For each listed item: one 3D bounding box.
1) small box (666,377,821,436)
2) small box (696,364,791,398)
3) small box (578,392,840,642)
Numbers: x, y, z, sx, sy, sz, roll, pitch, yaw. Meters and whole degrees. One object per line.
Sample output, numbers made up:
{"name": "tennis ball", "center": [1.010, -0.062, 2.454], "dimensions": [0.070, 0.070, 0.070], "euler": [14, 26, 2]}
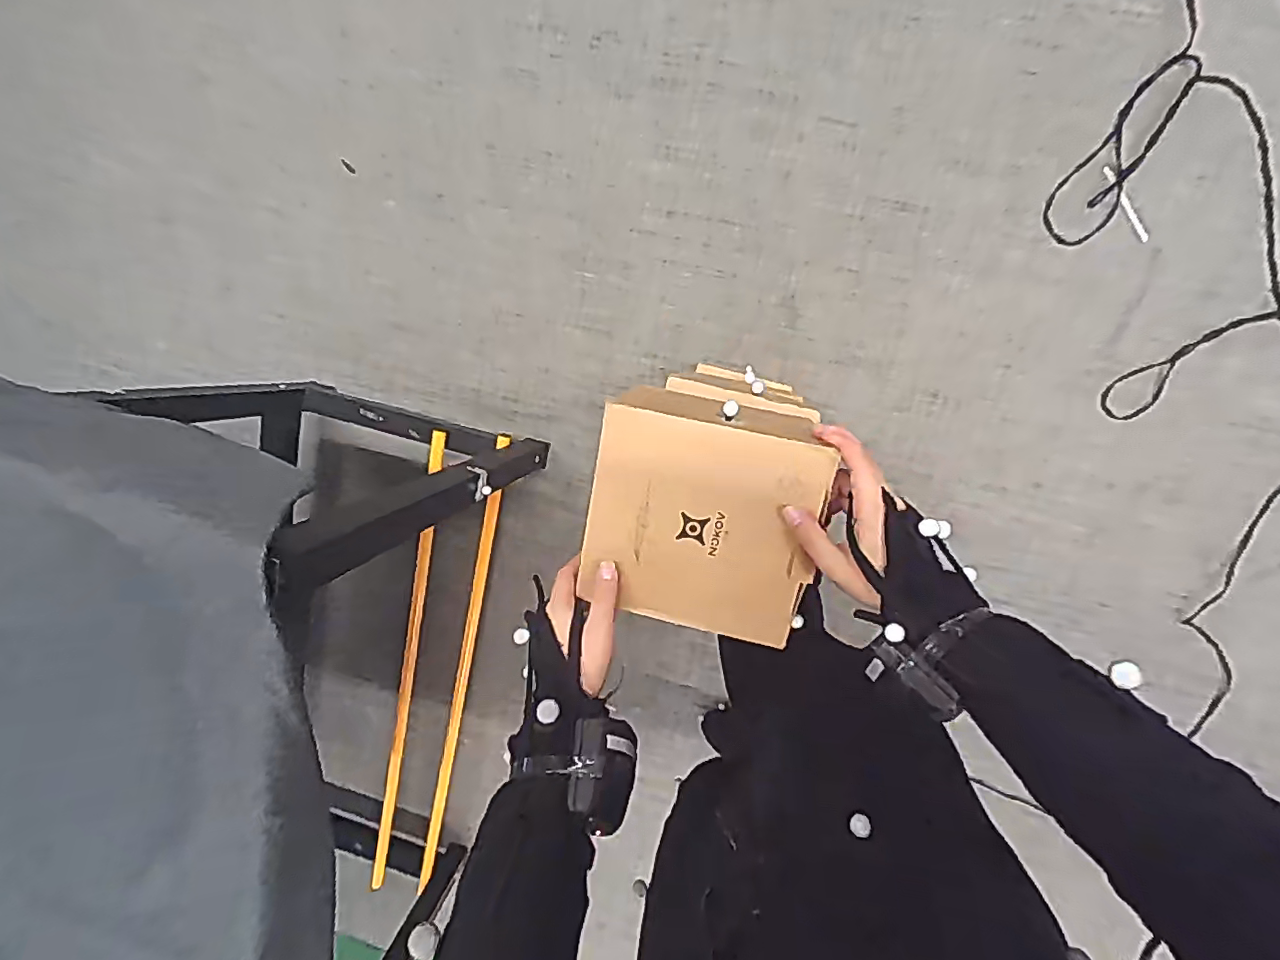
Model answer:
{"name": "small box", "center": [0.108, -0.035, 0.694], "dimensions": [0.179, 0.176, 0.168], "euler": [15, 103, 5]}
{"name": "small box", "center": [0.168, -0.109, 1.008], "dimensions": [0.168, 0.176, 0.179], "euler": [16, 103, 7]}
{"name": "small box", "center": [0.059, 0.017, 0.493], "dimensions": [0.179, 0.176, 0.168], "euler": [12, 104, 7]}
